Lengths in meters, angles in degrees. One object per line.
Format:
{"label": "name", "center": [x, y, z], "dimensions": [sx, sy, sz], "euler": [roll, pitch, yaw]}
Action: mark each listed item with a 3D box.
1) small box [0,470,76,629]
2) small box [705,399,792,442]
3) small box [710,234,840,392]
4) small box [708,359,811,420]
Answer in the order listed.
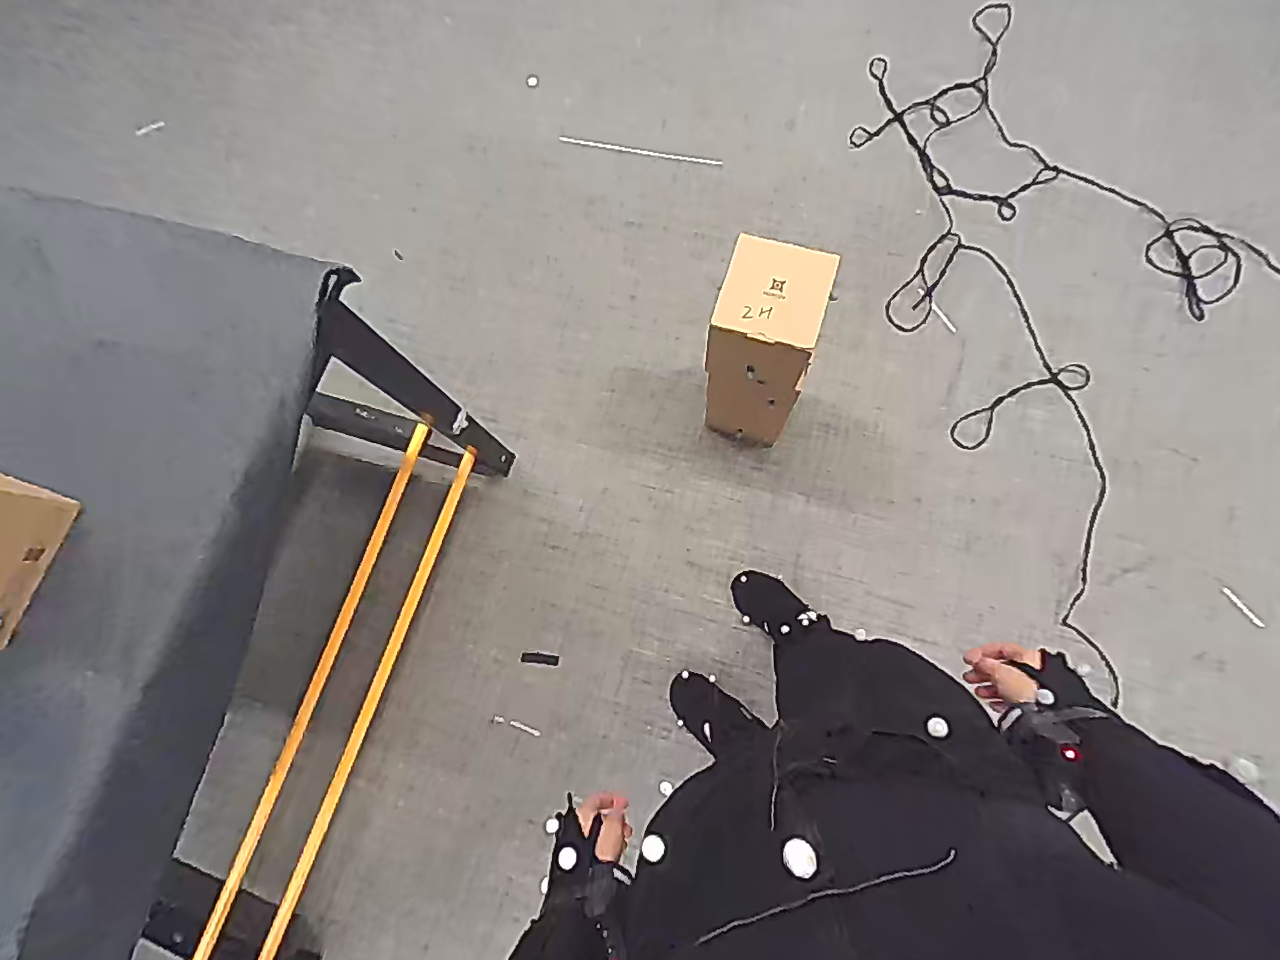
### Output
{"label": "small box", "center": [-0.724, 0.056, 0.519], "dimensions": [0.179, 0.176, 0.168], "euler": [16, 78, 10]}
{"label": "small box", "center": [0.258, -0.200, 1.238], "dimensions": [0.179, 0.176, 0.168], "euler": [19, 78, 8]}
{"label": "small box", "center": [0.220, -0.277, 0.923], "dimensions": [0.168, 0.176, 0.179], "euler": [17, 78, 9]}
{"label": "small box", "center": [0.242, -0.235, 1.082], "dimensions": [0.179, 0.176, 0.168], "euler": [15, 77, 10]}
